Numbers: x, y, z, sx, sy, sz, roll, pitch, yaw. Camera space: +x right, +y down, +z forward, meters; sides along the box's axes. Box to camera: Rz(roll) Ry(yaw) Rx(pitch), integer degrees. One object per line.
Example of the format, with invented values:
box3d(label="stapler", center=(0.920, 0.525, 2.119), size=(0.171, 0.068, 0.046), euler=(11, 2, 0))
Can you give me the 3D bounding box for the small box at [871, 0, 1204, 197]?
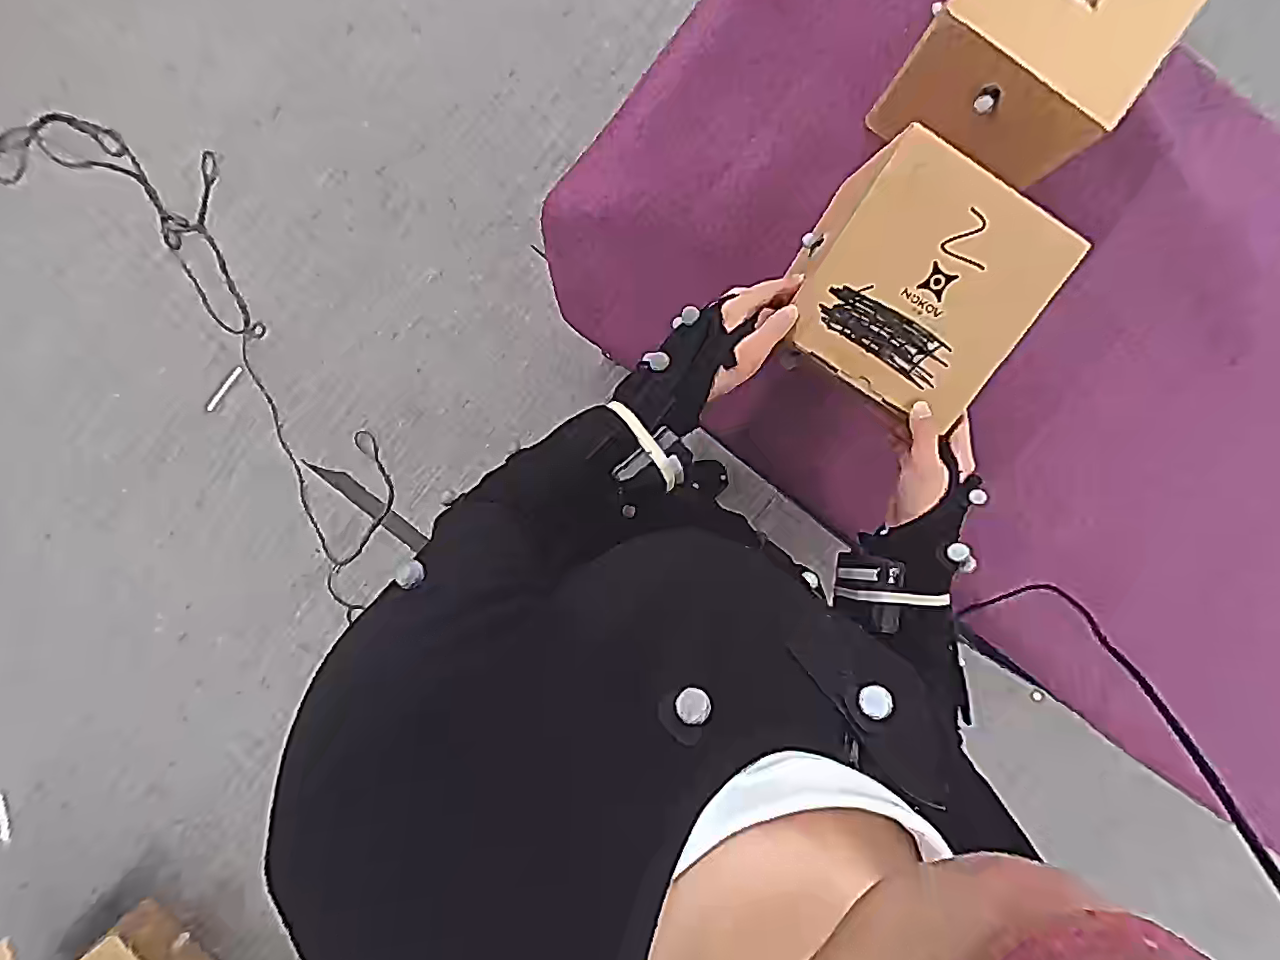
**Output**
box3d(label="small box", center=(0.373, -0.416, 0.533), size=(0.179, 0.176, 0.168), euler=(35, 93, -2))
